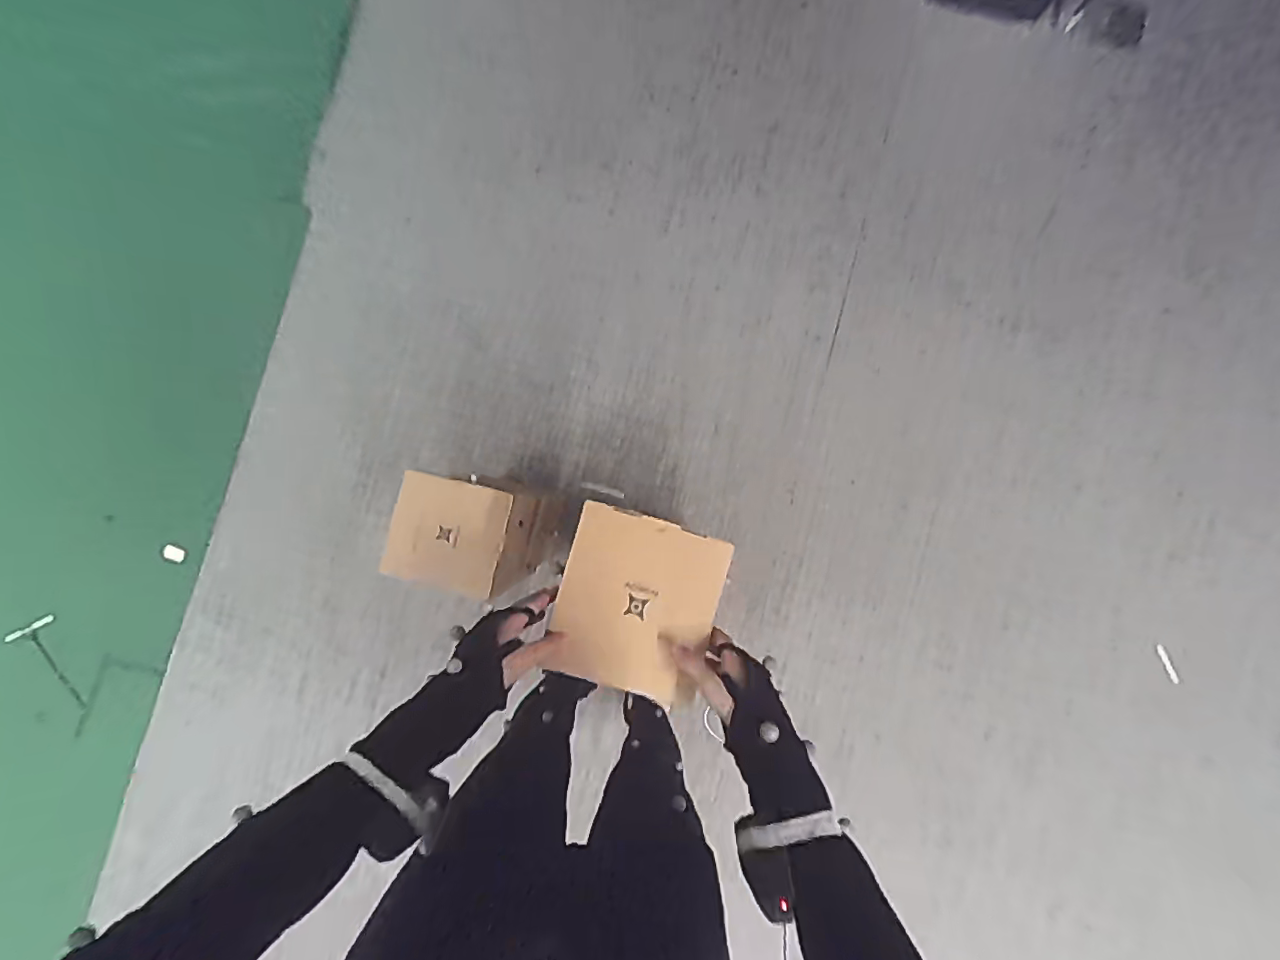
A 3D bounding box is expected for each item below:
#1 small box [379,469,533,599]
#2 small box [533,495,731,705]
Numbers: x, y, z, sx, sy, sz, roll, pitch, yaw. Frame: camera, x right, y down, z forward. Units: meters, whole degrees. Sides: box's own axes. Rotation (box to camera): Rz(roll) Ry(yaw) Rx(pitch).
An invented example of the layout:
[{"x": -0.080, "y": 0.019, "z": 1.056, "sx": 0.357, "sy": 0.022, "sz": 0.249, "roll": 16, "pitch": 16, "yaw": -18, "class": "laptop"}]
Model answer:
[{"x": -0.291, "y": 0.086, "z": 0.898, "sx": 0.179, "sy": 0.176, "sz": 0.168, "roll": 14, "pitch": 86, "yaw": 2, "class": "small box"}, {"x": -0.012, "y": 0.132, "z": 0.629, "sx": 0.168, "sy": 0.176, "sz": 0.179, "roll": 17, "pitch": 80, "yaw": -3, "class": "small box"}]
